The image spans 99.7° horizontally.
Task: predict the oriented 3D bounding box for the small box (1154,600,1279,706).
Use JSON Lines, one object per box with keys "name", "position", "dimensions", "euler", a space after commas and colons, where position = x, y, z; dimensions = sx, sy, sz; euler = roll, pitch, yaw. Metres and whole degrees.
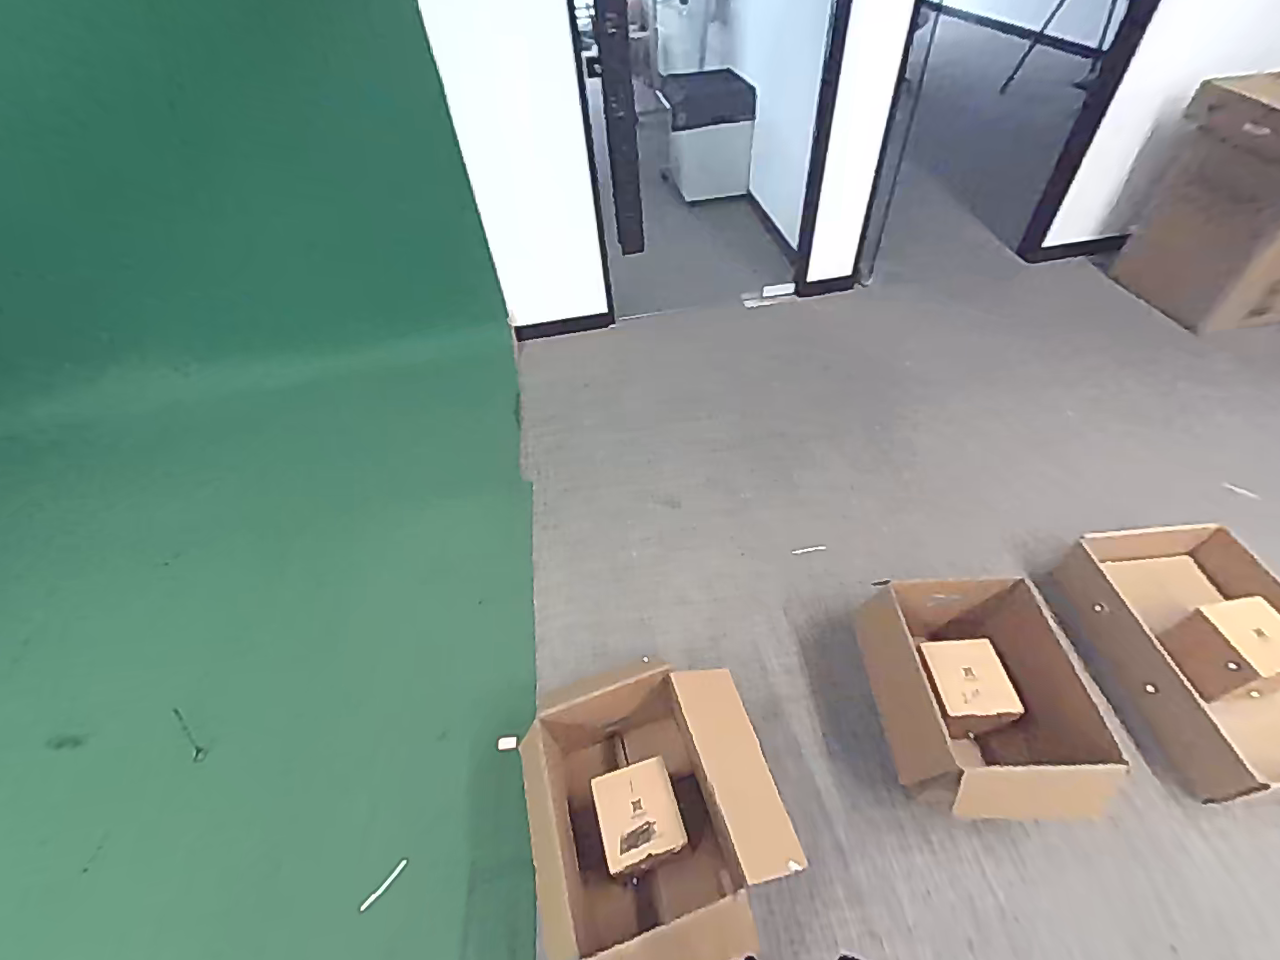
{"name": "small box", "position": [1.411, 0.414, 1.293], "dimensions": [0.168, 0.176, 0.179], "euler": [-9, 48, -3]}
